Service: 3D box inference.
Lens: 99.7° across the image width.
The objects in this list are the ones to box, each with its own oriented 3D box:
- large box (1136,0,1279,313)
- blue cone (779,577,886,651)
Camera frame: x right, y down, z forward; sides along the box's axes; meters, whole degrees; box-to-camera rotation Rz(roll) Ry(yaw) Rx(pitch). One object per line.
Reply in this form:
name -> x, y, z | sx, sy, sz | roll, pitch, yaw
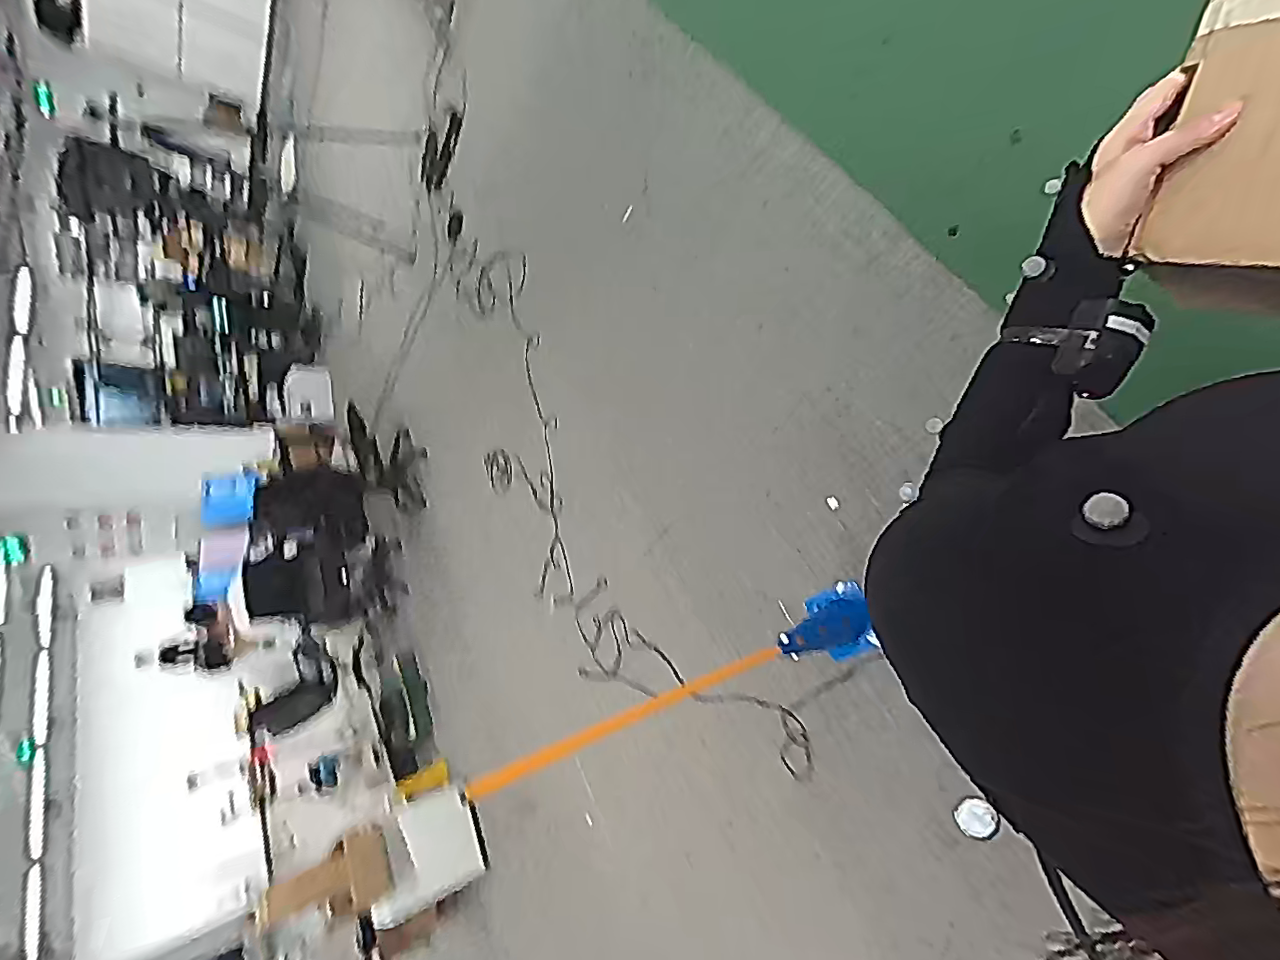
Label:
large box -> 0.631, -0.273, 0.332 | 0.408, 0.320, 0.320 | 24, 113, 44
blue cone -> 0.498, 0.410, 1.510 | 0.192, 0.380, 0.193 | -39, 64, 40
